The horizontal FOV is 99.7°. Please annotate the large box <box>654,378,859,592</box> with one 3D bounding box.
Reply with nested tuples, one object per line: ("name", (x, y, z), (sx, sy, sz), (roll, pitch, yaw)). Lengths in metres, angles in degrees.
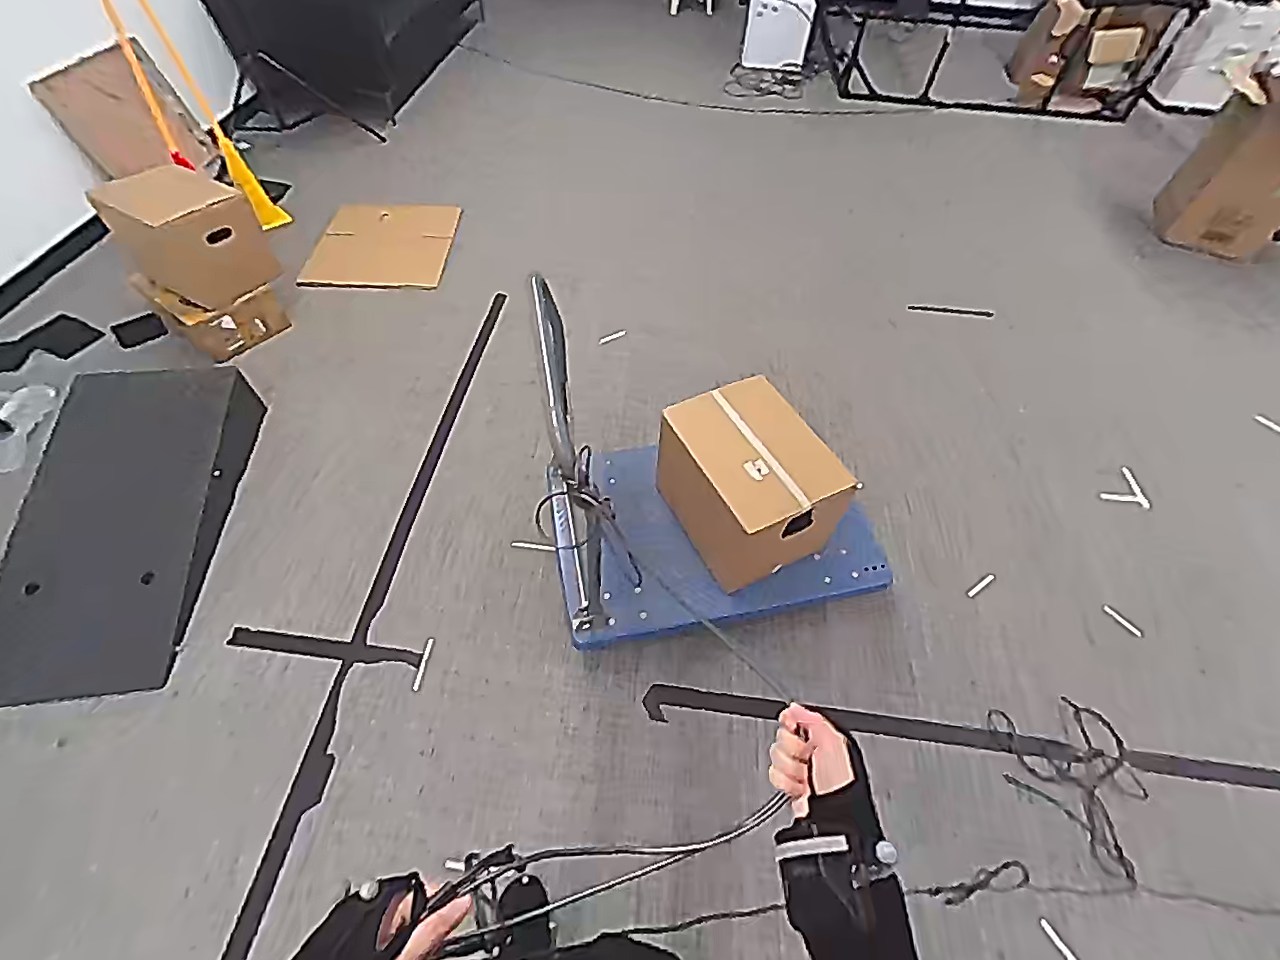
("large box", (0.271, 0.009, 1.409), (0.320, 0.320, 0.408), (-22, 59, -16))
